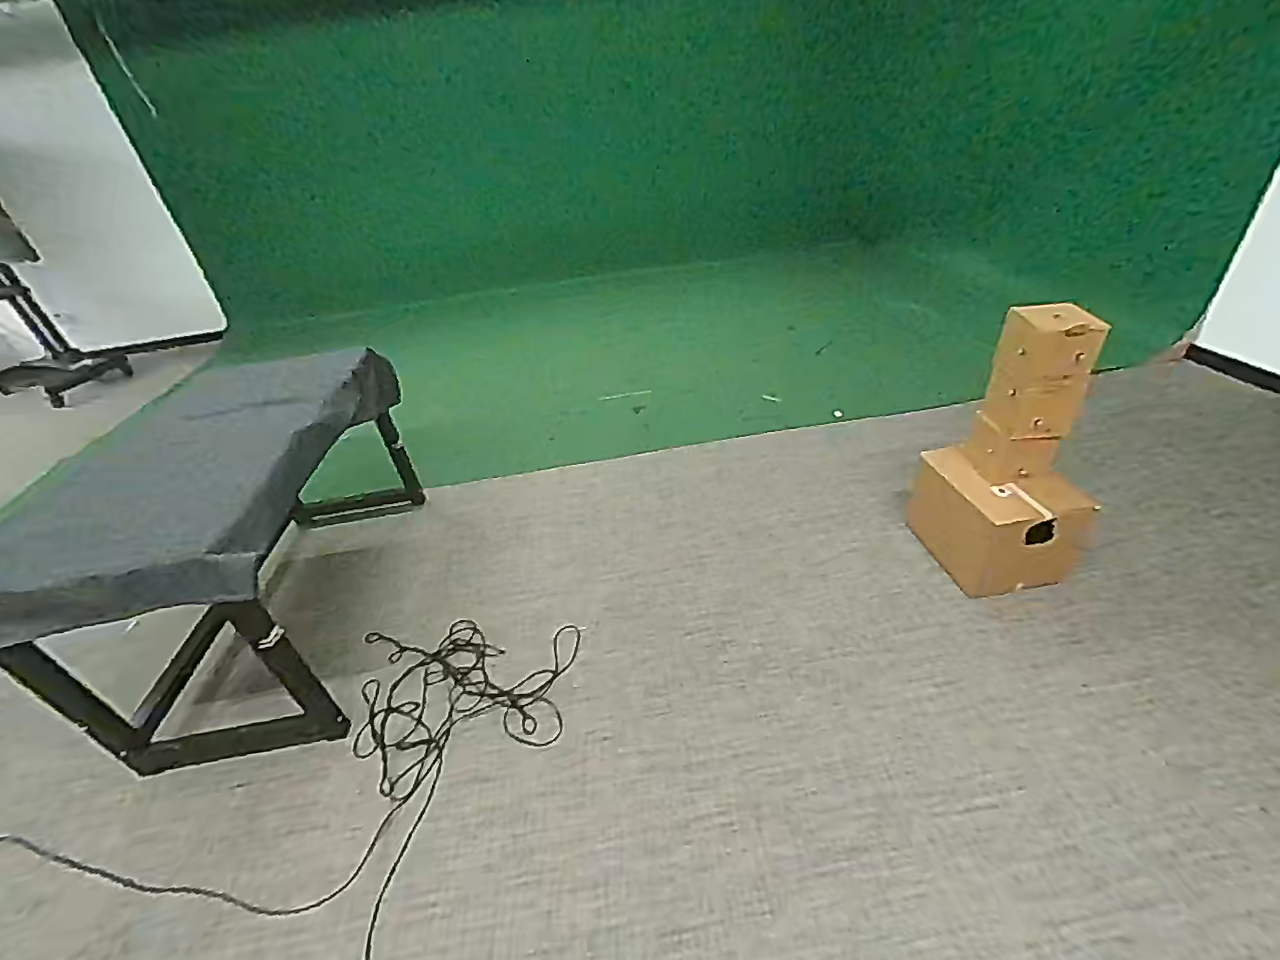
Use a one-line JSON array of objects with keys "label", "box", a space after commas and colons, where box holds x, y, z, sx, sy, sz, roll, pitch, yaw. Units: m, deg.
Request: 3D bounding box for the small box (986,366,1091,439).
[{"label": "small box", "box": [1.152, -0.235, 1.583, 0.168, 0.176, 0.179, -4, 36, 5]}]

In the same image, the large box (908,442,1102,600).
[{"label": "large box", "box": [1.159, 0.124, 1.782, 0.320, 0.320, 0.408, -11, 36, -3]}]

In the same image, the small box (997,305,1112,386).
[{"label": "small box", "box": [1.129, -0.366, 1.490, 0.168, 0.176, 0.179, -2, 36, 5]}]
